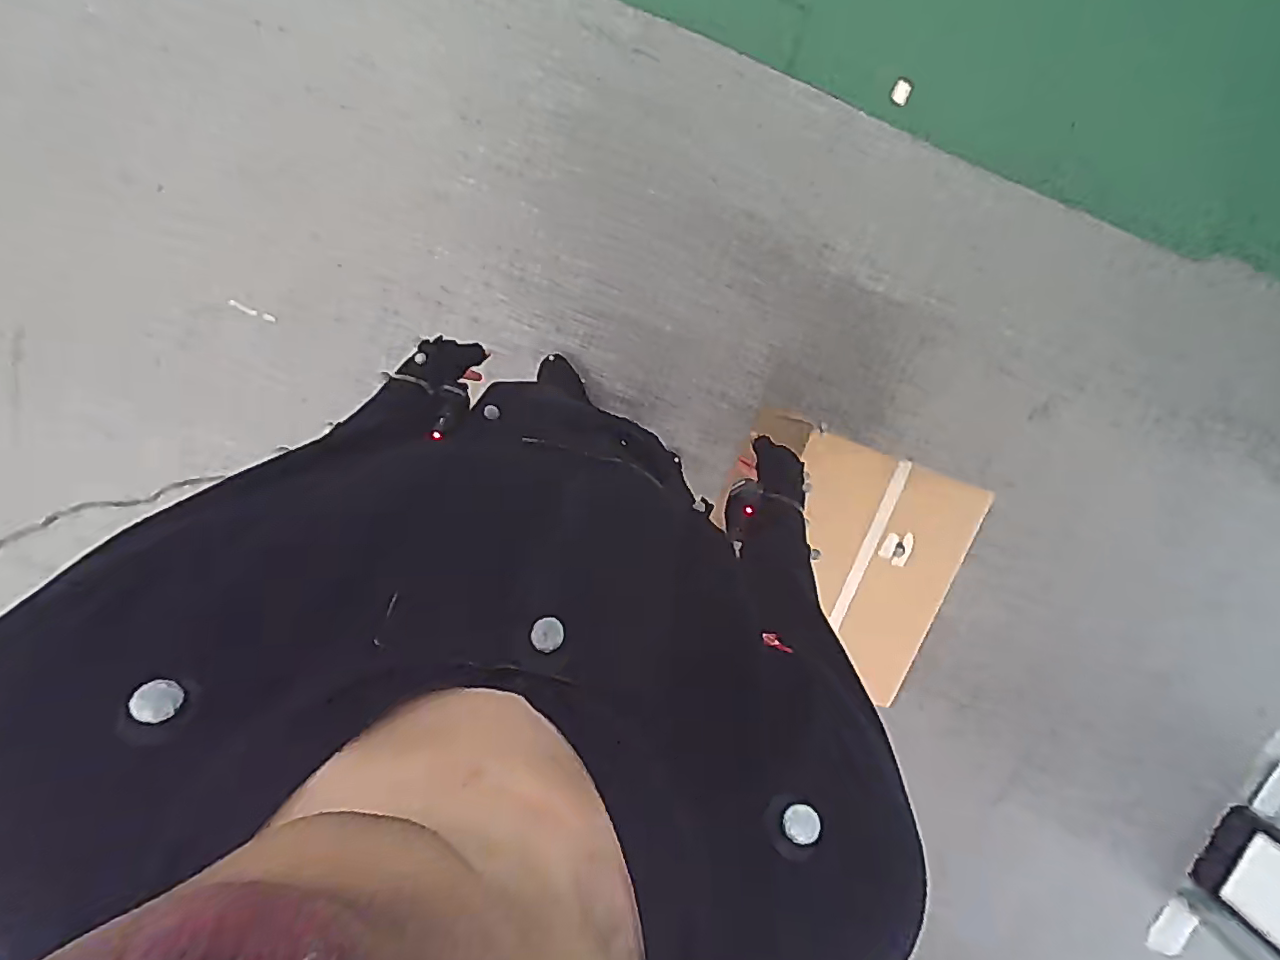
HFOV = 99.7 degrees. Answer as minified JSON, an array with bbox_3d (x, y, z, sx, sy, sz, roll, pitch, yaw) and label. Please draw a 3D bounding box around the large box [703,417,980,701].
[{"bbox_3d":[0.337,0.121,1.029,0.320,0.320,0.408,21,99,-2],"label":"large box"}]
